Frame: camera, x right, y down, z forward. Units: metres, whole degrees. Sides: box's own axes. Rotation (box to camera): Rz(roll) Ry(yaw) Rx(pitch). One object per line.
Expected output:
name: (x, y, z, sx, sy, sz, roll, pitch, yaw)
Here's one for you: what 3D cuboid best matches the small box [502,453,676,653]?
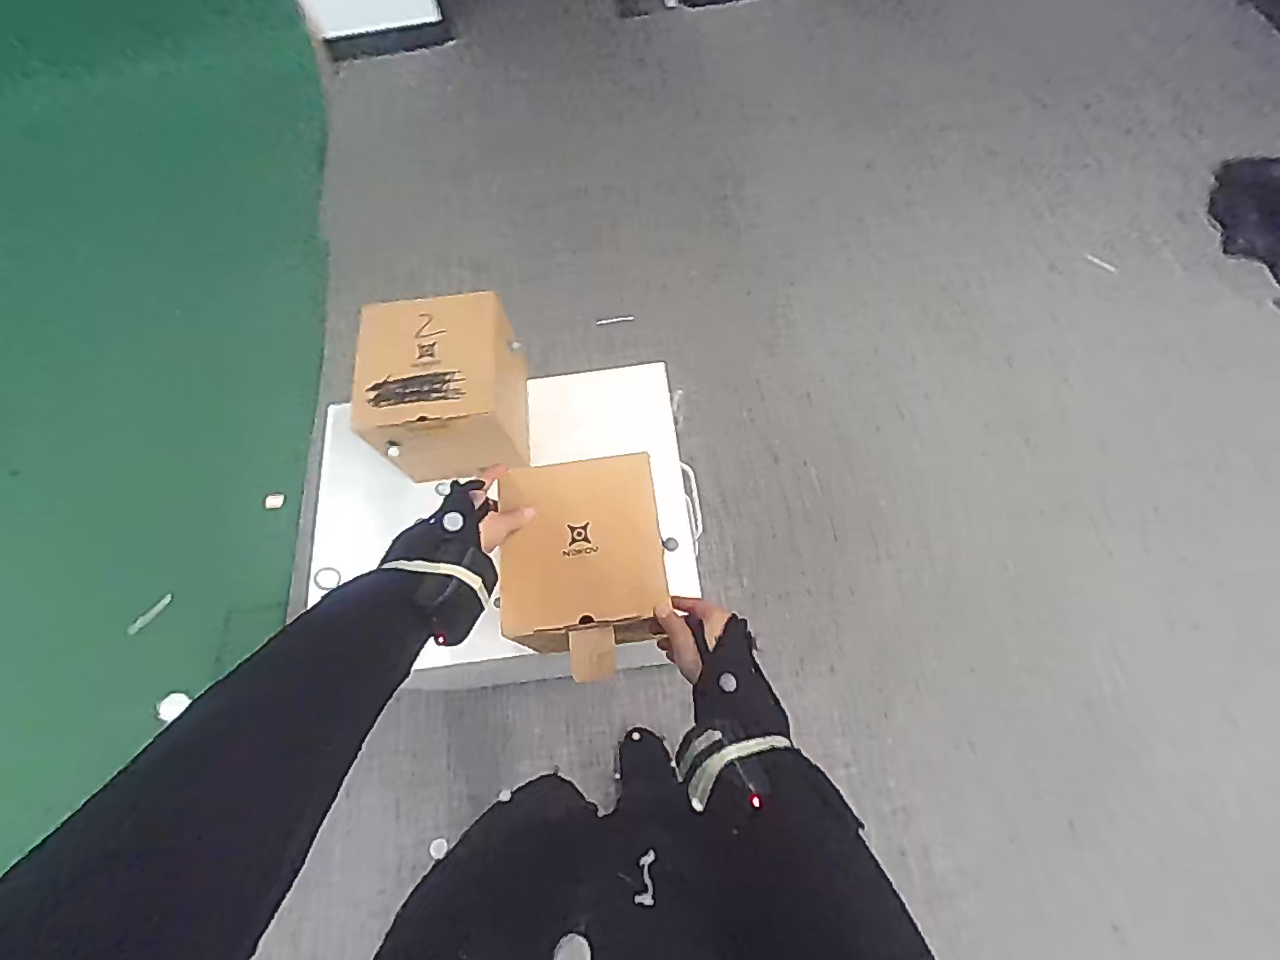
small box: (-0.054, 0.090, 0.616, 0.168, 0.176, 0.179, -8, 67, 0)
